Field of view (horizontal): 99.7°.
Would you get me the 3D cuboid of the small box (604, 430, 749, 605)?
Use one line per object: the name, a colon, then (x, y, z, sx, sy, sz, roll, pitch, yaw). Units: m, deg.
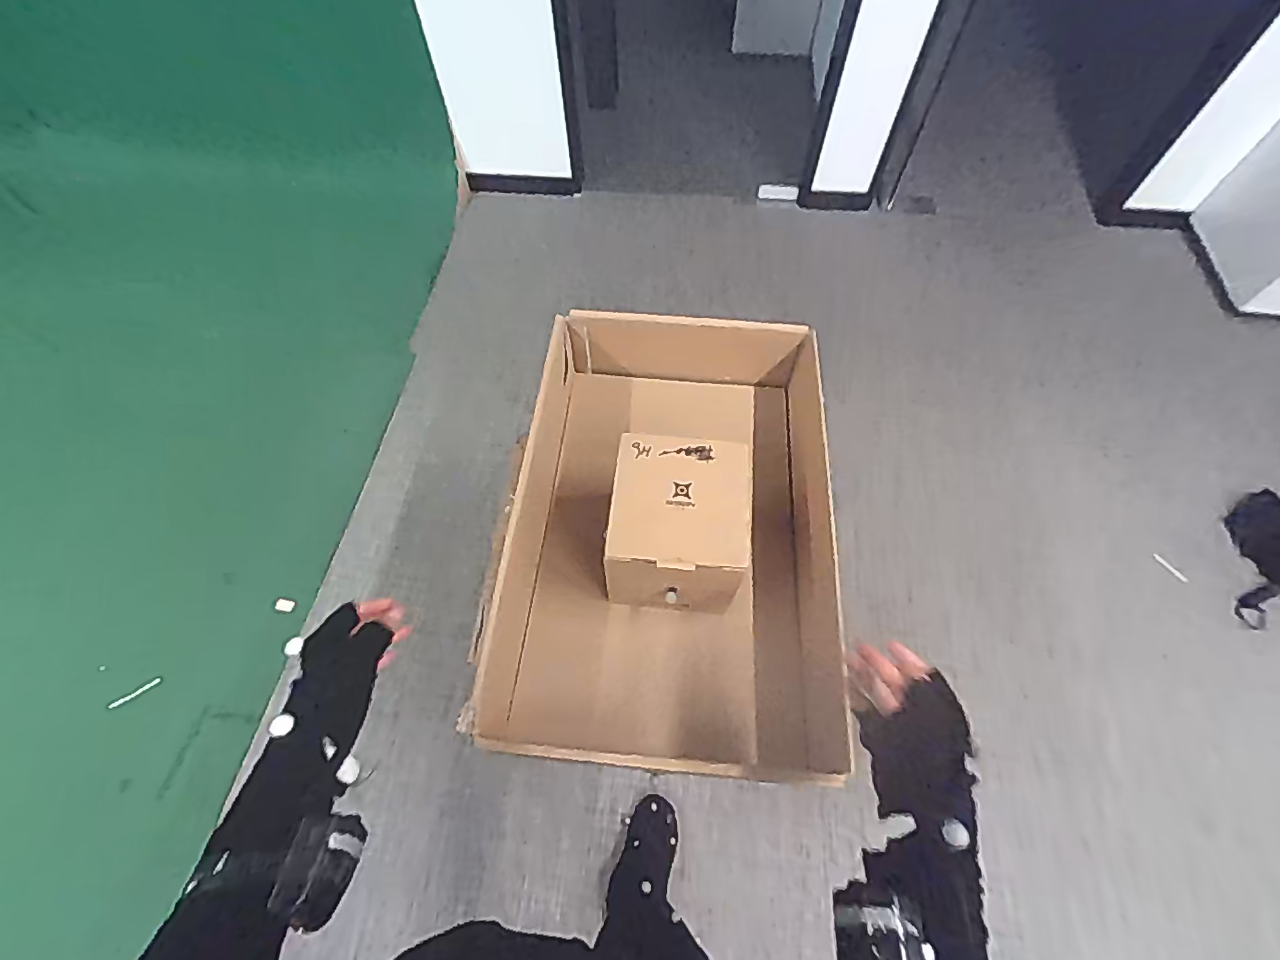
small box: (0.047, 0.057, 0.725, 0.168, 0.176, 0.179, 6, 61, 1)
